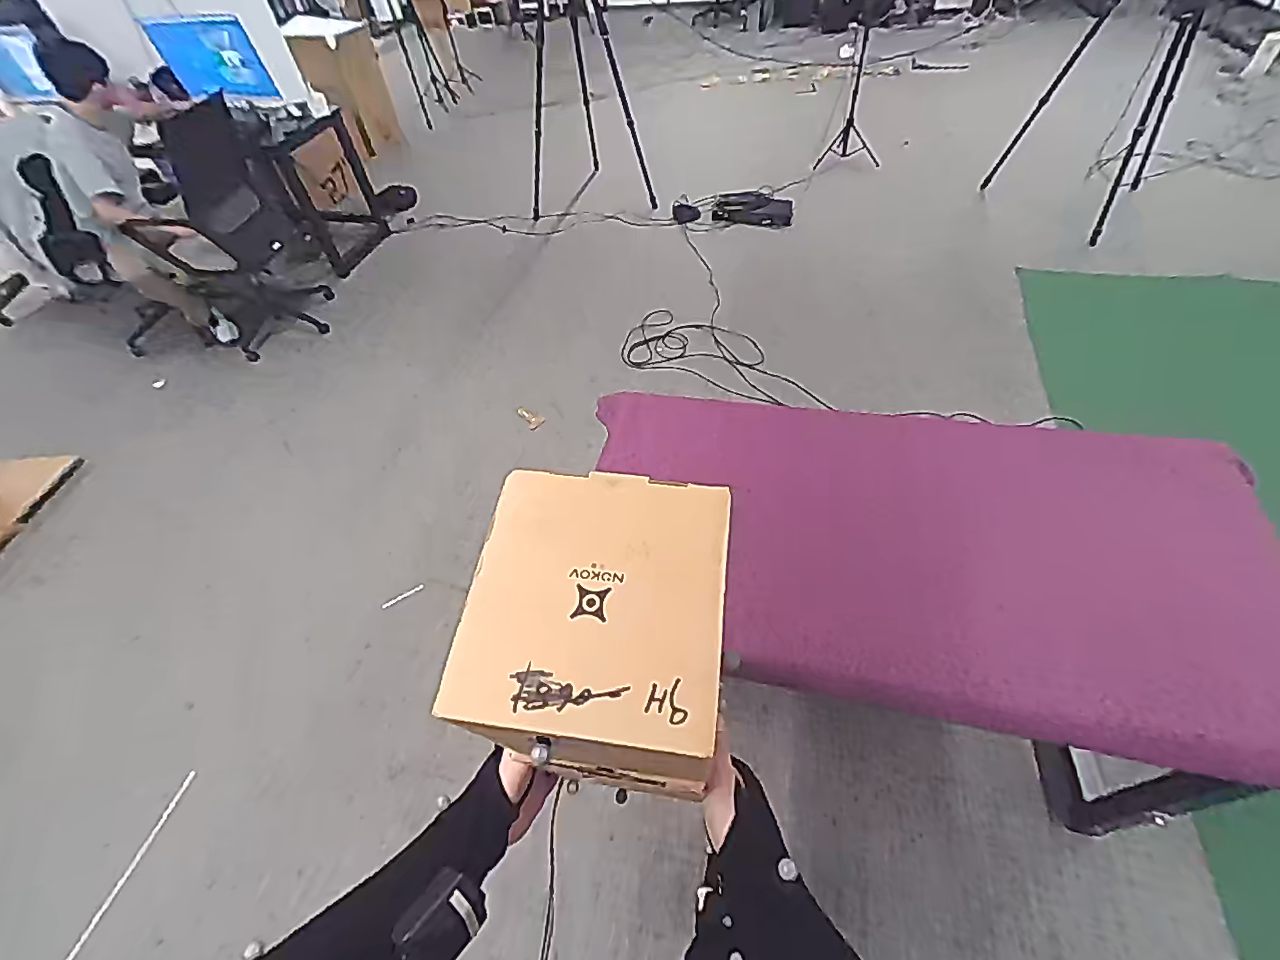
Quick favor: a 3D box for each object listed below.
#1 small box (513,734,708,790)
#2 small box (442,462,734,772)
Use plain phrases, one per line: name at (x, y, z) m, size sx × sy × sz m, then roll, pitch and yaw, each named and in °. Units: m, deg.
small box at (-0.007, 0.203, 0.551) m, size 0.168 × 0.176 × 0.179 m, roll 5°, pitch 57°, yaw 9°
small box at (-0.020, 0.109, 0.418) m, size 0.168 × 0.176 × 0.179 m, roll 4°, pitch 57°, yaw 9°
